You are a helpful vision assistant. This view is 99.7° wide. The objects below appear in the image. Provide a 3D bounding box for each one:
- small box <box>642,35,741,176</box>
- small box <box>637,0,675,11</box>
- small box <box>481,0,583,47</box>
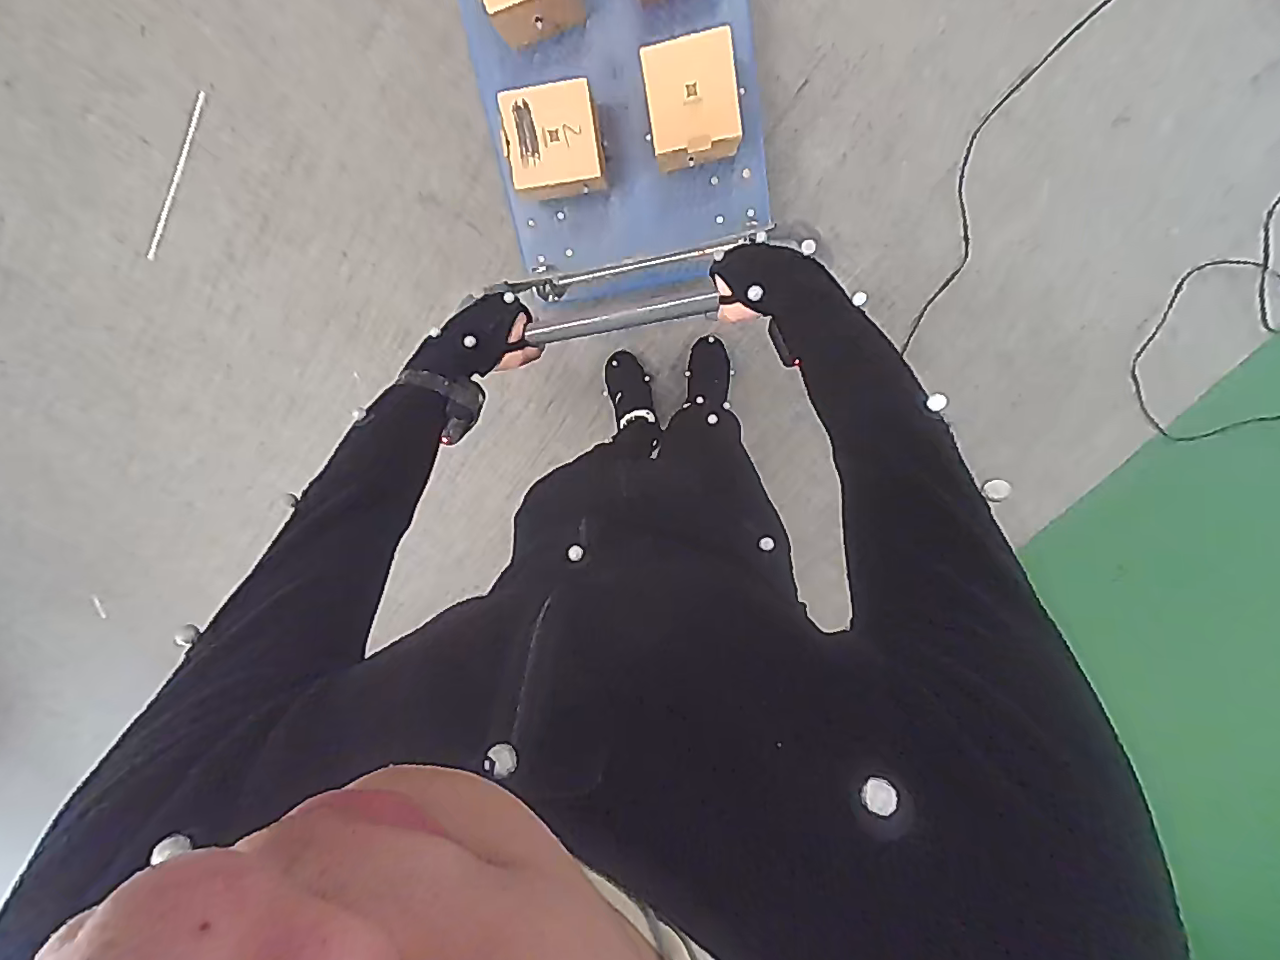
[{"bbox_3d":[0.100,-0.726,1.069,0.168,0.176,0.179,-9,111,7],"label":"small box"},{"bbox_3d":[0.049,-1.001,0.965,0.168,0.176,0.179,-14,110,9],"label":"small box"},{"bbox_3d":[-0.214,-0.945,1.002,0.168,0.176,0.179,-14,109,8],"label":"small box"}]
